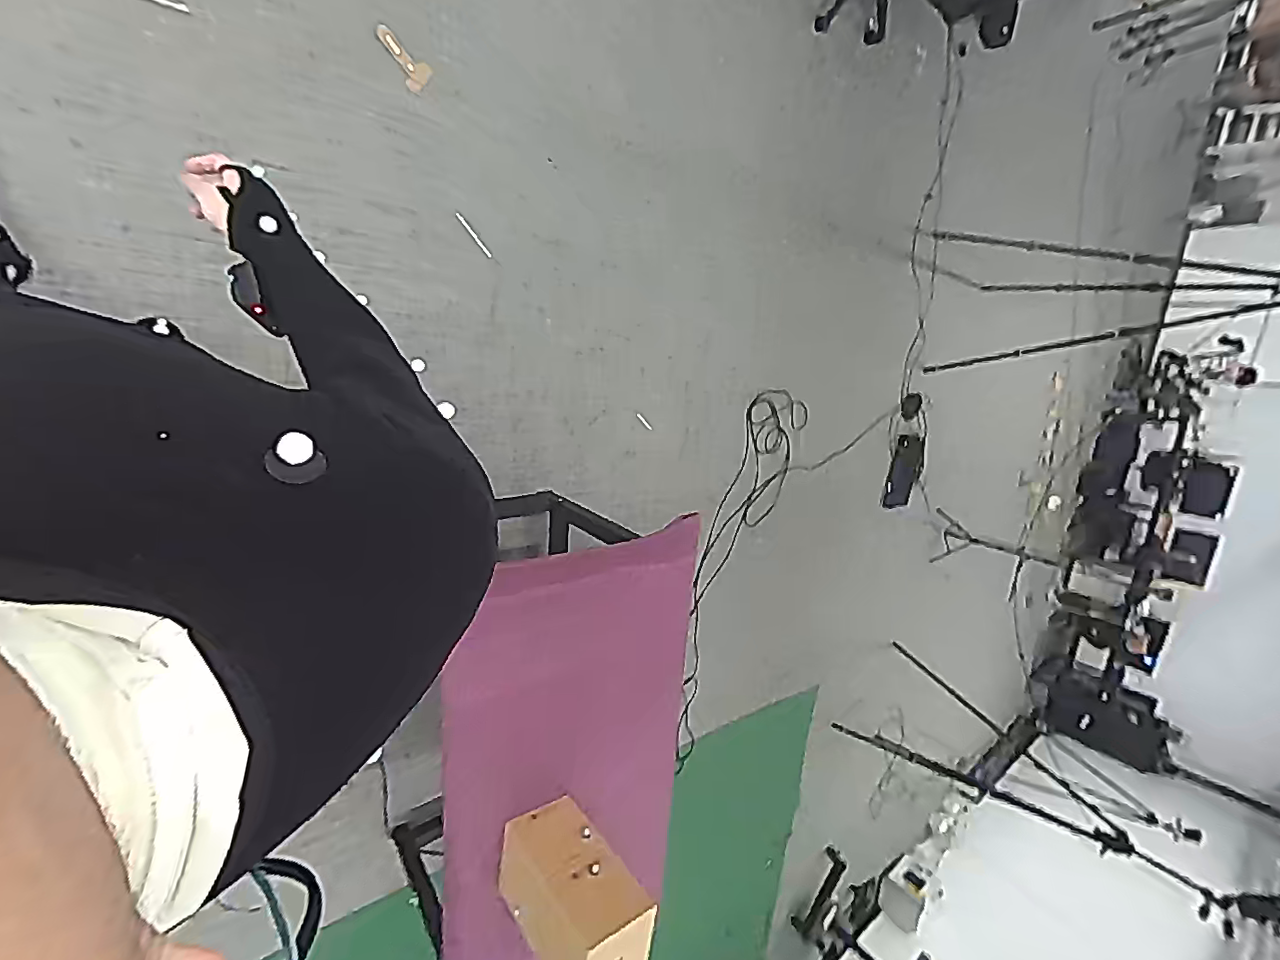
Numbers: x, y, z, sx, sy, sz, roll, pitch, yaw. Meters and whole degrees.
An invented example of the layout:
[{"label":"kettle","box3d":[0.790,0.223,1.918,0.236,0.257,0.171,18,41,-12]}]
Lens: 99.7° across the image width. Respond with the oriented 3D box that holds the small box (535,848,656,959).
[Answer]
[{"label":"small box","box3d":[-0.095,0.891,1.075,0.168,0.176,0.179,0,104,-40]}]
